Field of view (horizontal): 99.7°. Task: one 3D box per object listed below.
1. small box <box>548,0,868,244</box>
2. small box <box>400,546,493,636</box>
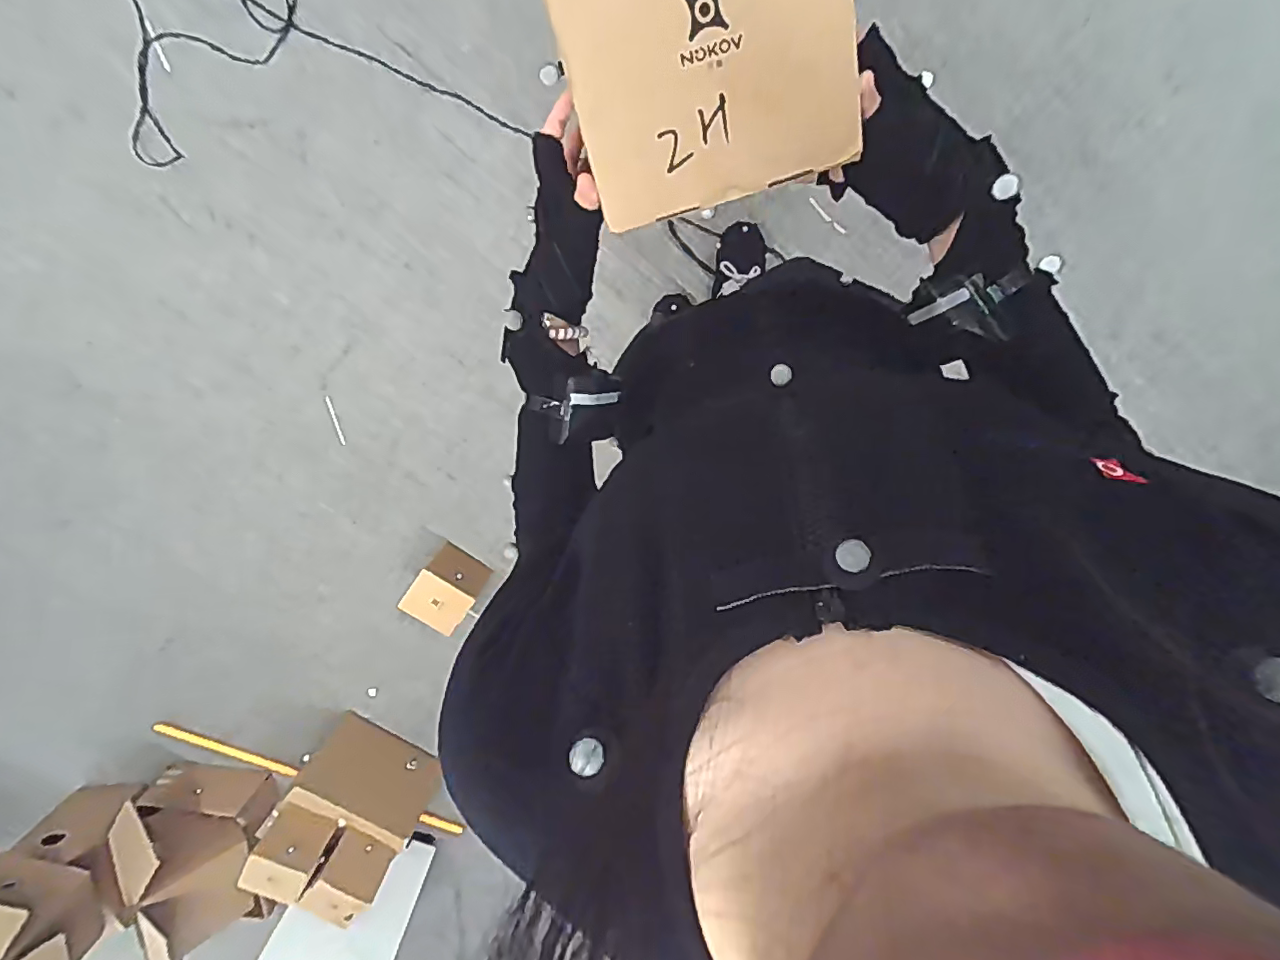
[{"bbox_3d":[0.035,-0.278,0.368,0.168,0.176,0.179,-15,119,5],"label":"small box"},{"bbox_3d":[-0.573,0.323,1.618,0.179,0.176,0.168,35,109,-12],"label":"small box"}]
